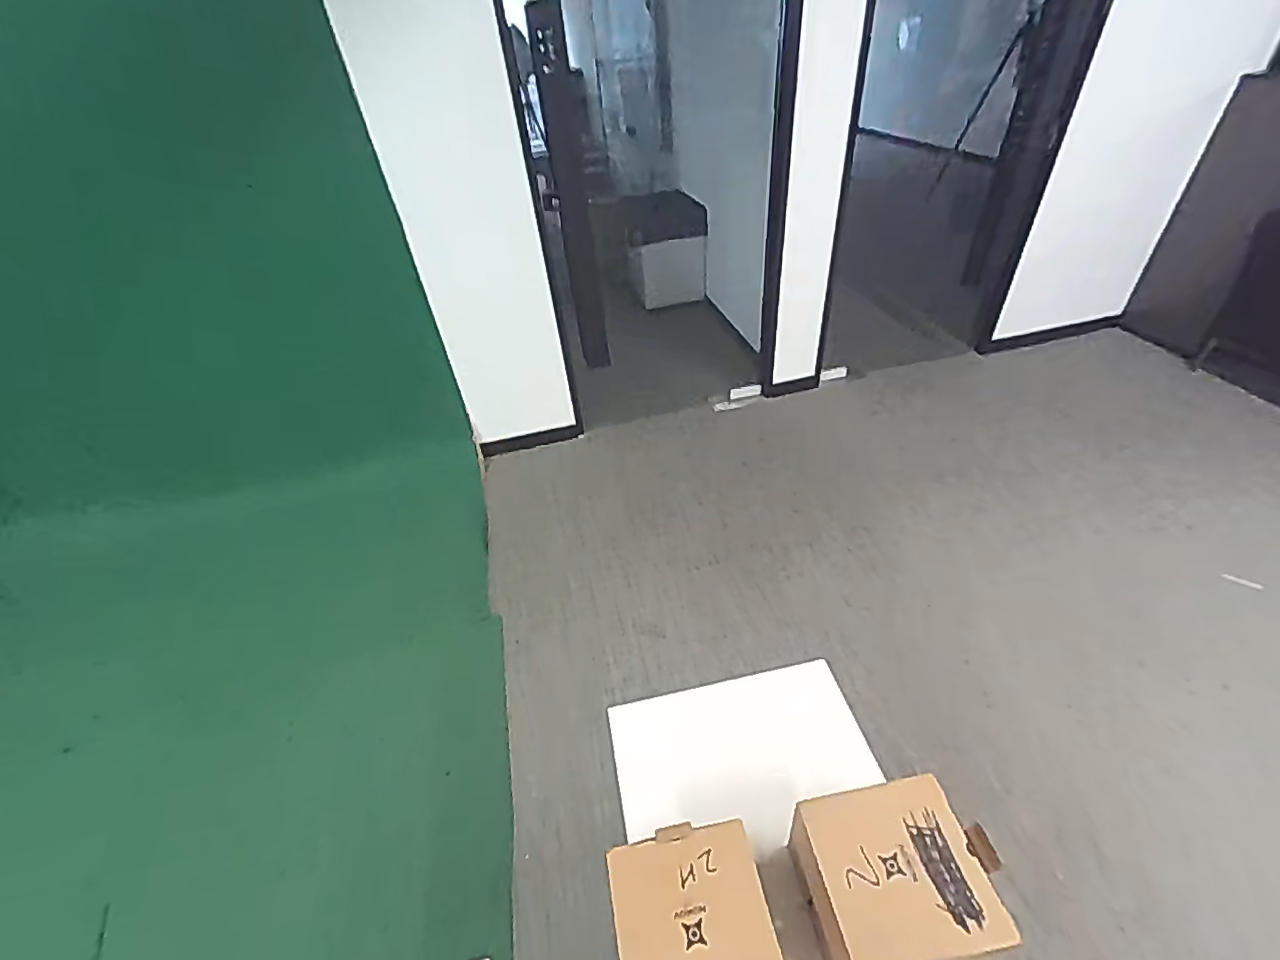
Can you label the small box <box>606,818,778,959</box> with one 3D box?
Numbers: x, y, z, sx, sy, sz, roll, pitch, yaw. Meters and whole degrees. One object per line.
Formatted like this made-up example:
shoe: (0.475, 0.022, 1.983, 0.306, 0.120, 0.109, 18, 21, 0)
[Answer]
small box: (0.059, 0.530, 0.625, 0.168, 0.176, 0.179, -9, 40, -6)
